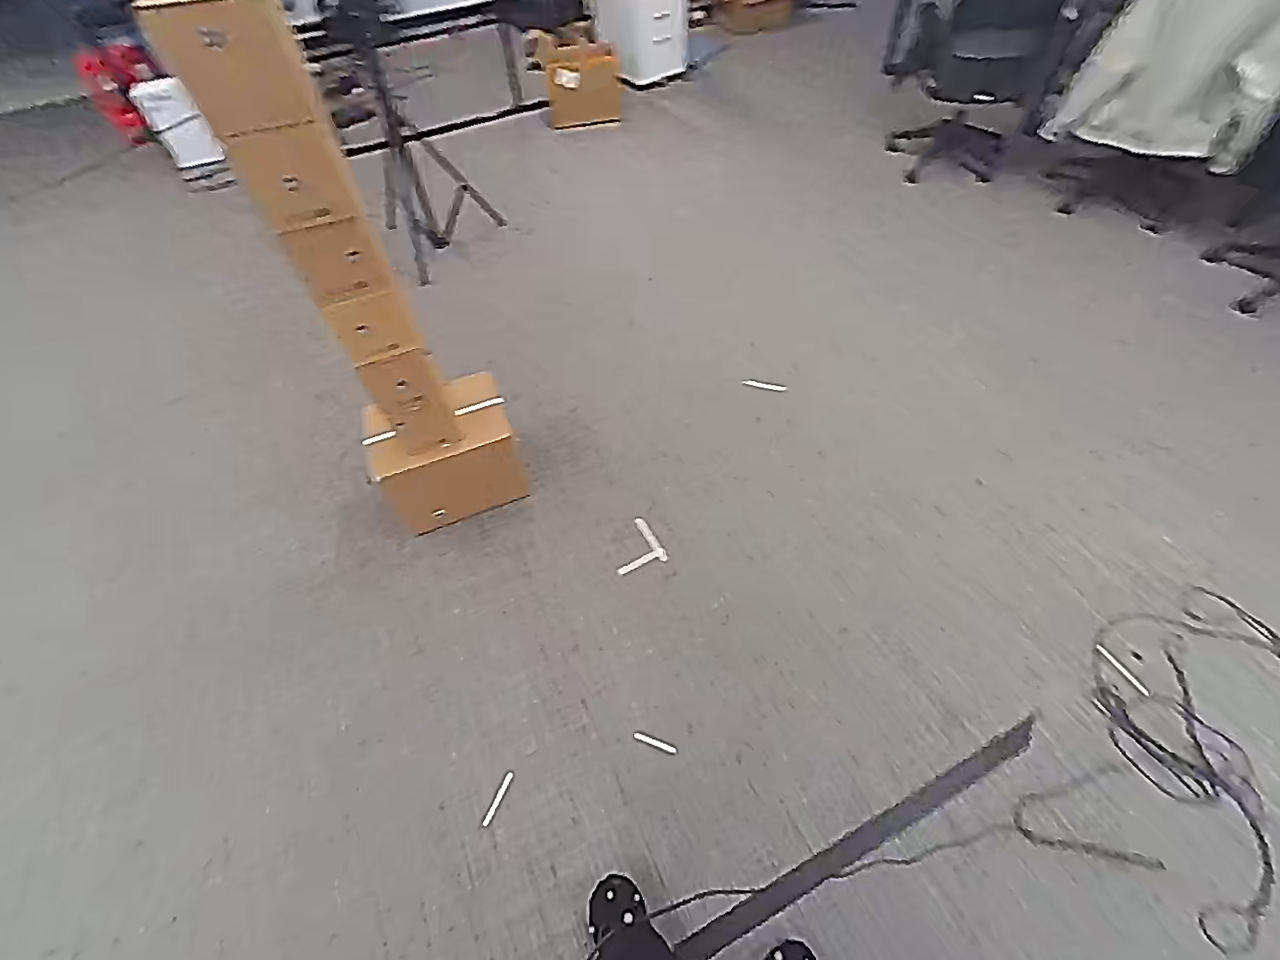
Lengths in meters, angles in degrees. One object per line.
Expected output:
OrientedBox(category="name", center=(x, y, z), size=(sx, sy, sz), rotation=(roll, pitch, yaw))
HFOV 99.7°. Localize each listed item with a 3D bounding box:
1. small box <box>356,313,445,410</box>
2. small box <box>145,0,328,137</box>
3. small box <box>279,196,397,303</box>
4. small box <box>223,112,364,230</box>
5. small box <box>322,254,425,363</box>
OrientedBox(category="small box", center=(-0.625, -0.304, 1.414), size=(0.168, 0.176, 0.179), rotation=(-19, 55, -11))
OrientedBox(category="small box", center=(-0.643, -0.689, 0.886), size=(0.179, 0.176, 0.168), rotation=(-19, 55, -12))
OrientedBox(category="small box", center=(-0.640, -0.498, 1.154), size=(0.168, 0.176, 0.179), rotation=(-21, 53, -13))
OrientedBox(category="small box", center=(-0.641, -0.594, 1.020), size=(0.168, 0.176, 0.179), rotation=(-19, 54, -12))
OrientedBox(category="small box", center=(-0.630, -0.399, 1.282), size=(0.168, 0.176, 0.179), rotation=(-21, 55, -11))
